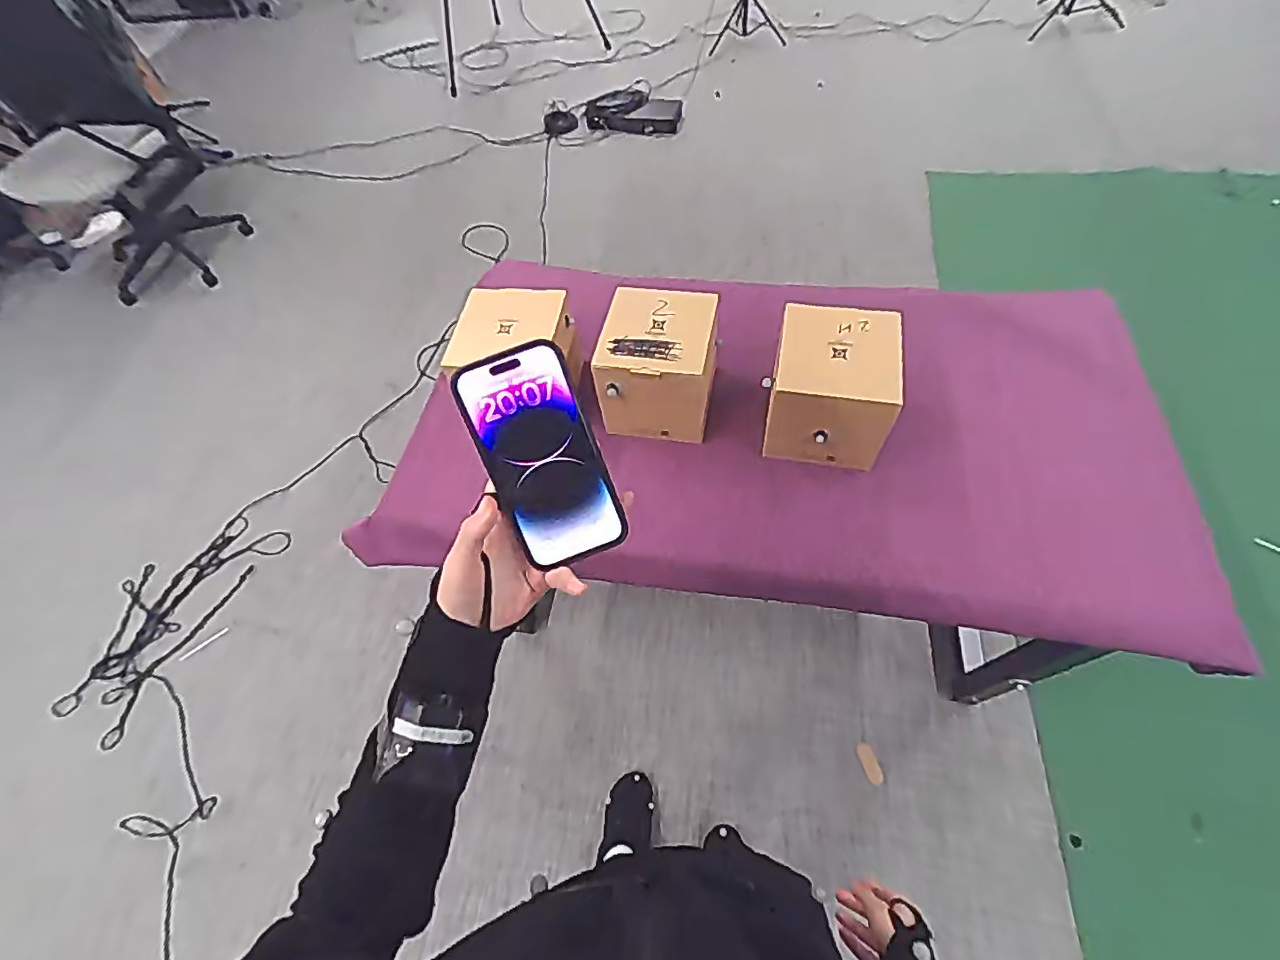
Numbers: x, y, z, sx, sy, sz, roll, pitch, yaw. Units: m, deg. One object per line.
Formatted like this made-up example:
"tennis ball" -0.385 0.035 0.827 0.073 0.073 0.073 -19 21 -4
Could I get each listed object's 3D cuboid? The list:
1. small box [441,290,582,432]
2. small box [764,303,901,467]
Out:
"small box" -0.203 -0.197 0.914 0.168 0.176 0.179 3 58 8
"small box" 0.287 -0.141 0.827 0.168 0.176 0.179 9 60 11
